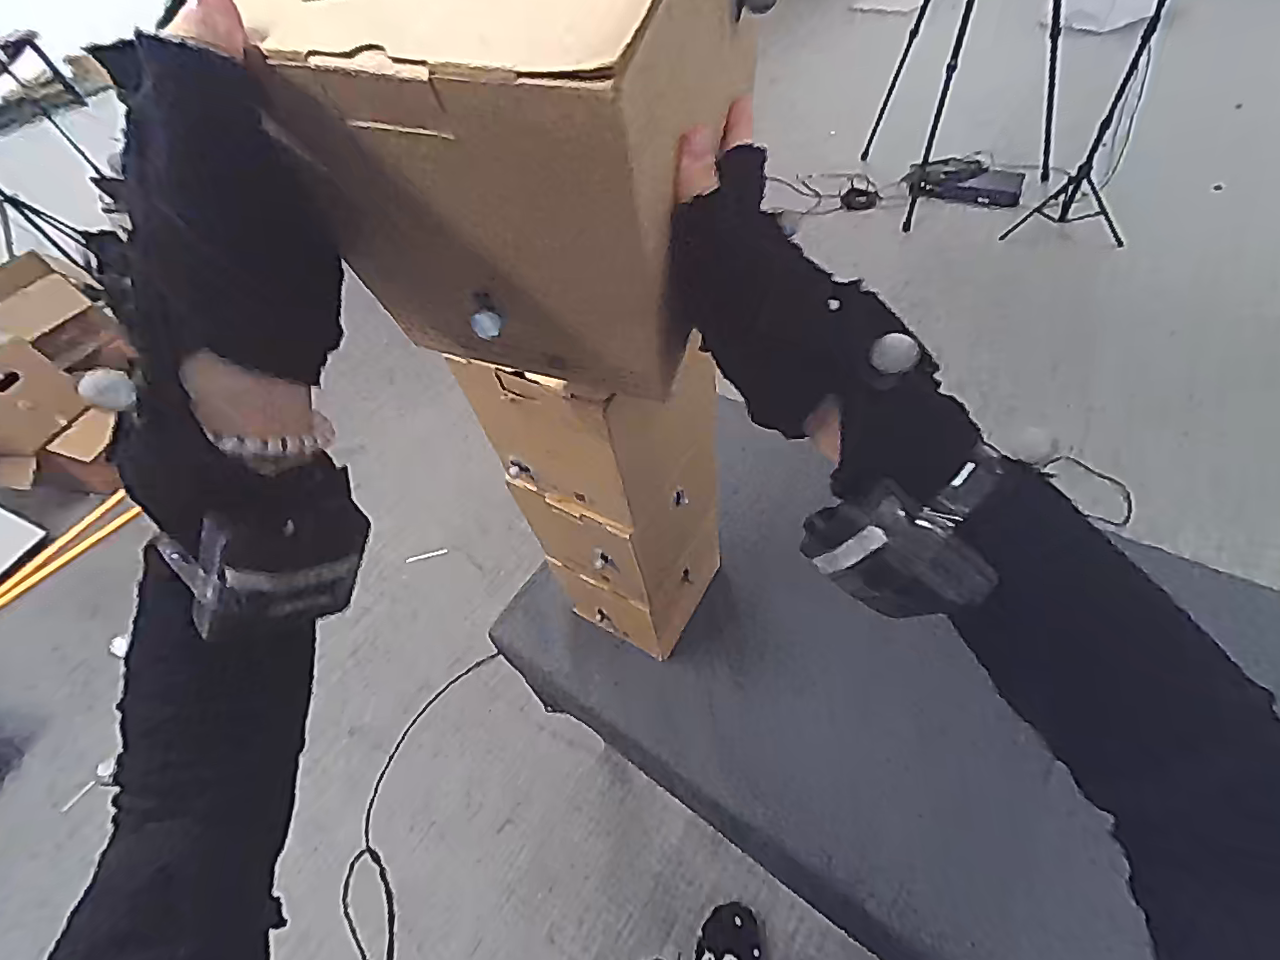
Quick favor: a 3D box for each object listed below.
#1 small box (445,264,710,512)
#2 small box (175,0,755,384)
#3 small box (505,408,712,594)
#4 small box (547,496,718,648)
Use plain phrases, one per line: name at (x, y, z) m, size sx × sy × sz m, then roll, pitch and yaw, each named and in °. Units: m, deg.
small box at (-0.040, -0.098, 0.513) m, size 0.168 × 0.176 × 0.179 m, roll 23°, pitch 60°, yaw 23°
small box at (-0.046, -0.178, 0.266) m, size 0.168 × 0.176 × 0.179 m, roll 17°, pitch 70°, yaw 14°
small box at (-0.021, 0.006, 0.639) m, size 0.168 × 0.176 × 0.179 m, roll 24°, pitch 60°, yaw 24°
small box at (-0.001, 0.104, 0.767) m, size 0.168 × 0.176 × 0.179 m, roll 23°, pitch 60°, yaw 24°
